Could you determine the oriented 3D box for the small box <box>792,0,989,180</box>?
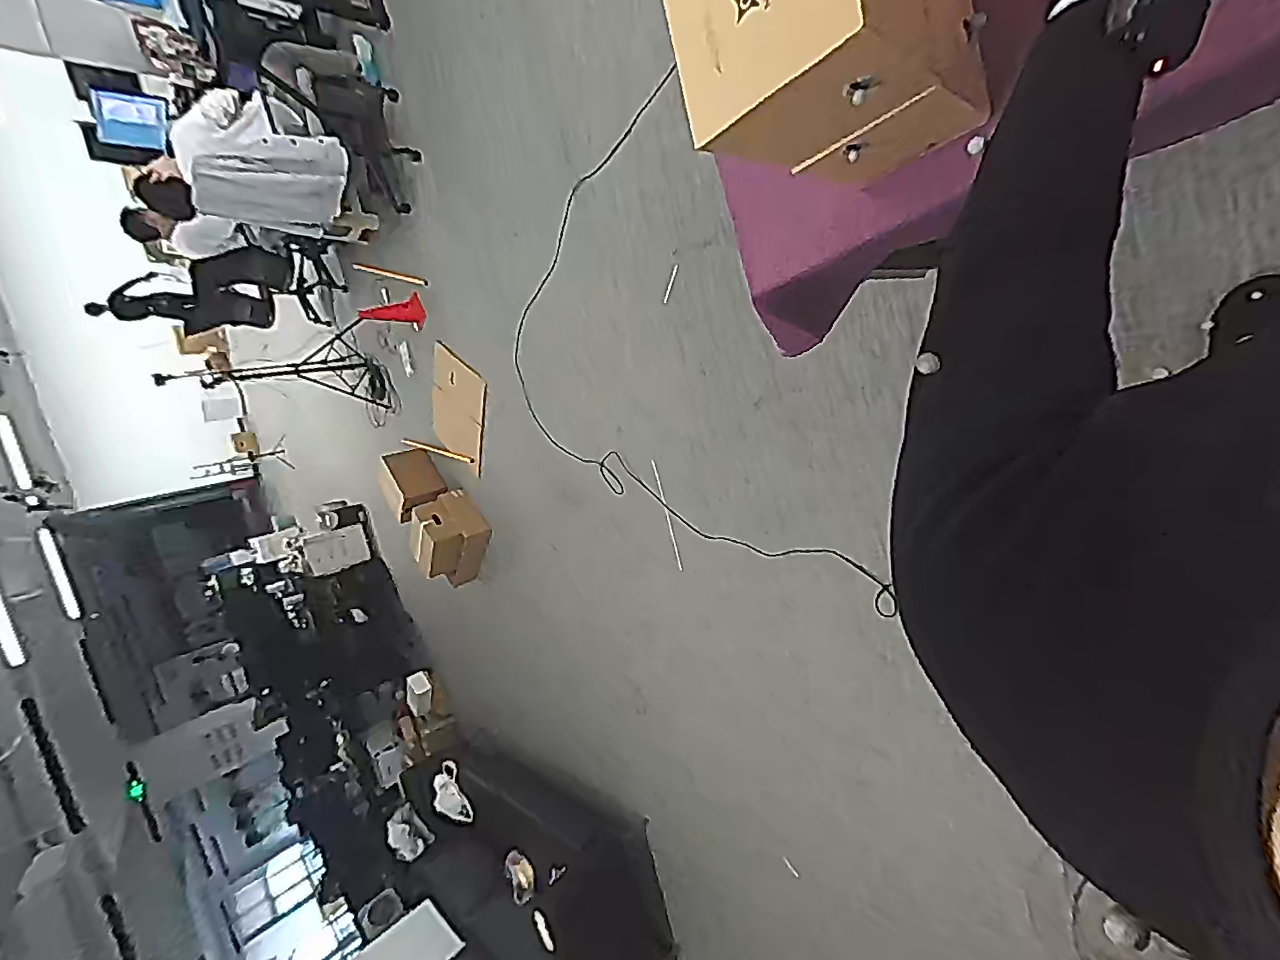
[{"bbox_3d":[0.272,-0.476,0.619,0.168,0.176,0.179,-7,99,50],"label":"small box"}]

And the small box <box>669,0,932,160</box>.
[{"bbox_3d":[0.155,-0.435,0.512,0.179,0.176,0.168,-5,100,49],"label":"small box"}]
